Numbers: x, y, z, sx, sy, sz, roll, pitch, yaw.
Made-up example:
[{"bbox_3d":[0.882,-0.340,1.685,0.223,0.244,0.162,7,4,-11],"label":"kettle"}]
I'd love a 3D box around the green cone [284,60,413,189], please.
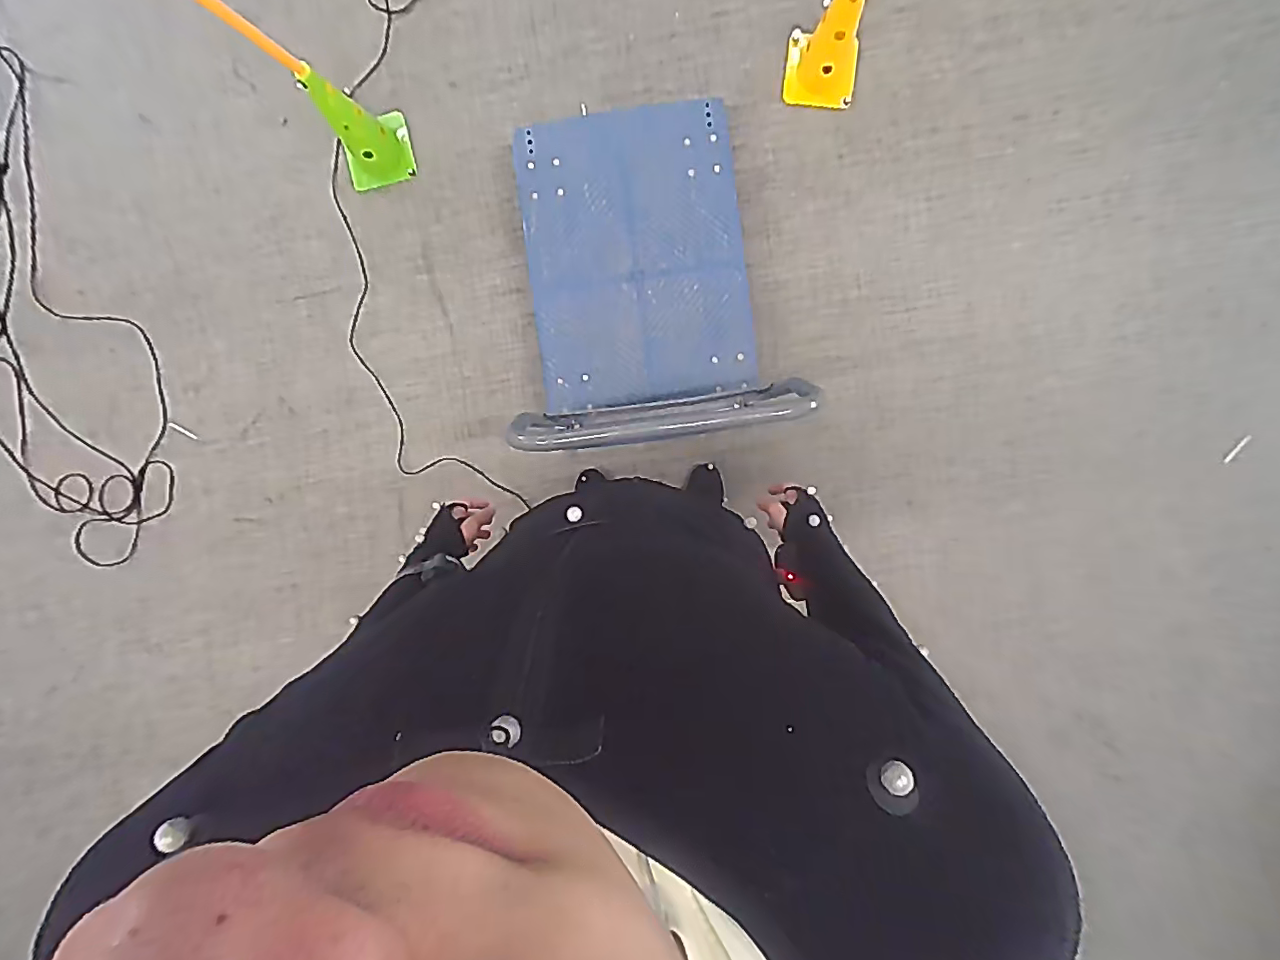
[{"bbox_3d":[-0.805,-0.986,1.453,0.202,0.368,0.200,-14,91,5],"label":"green cone"}]
